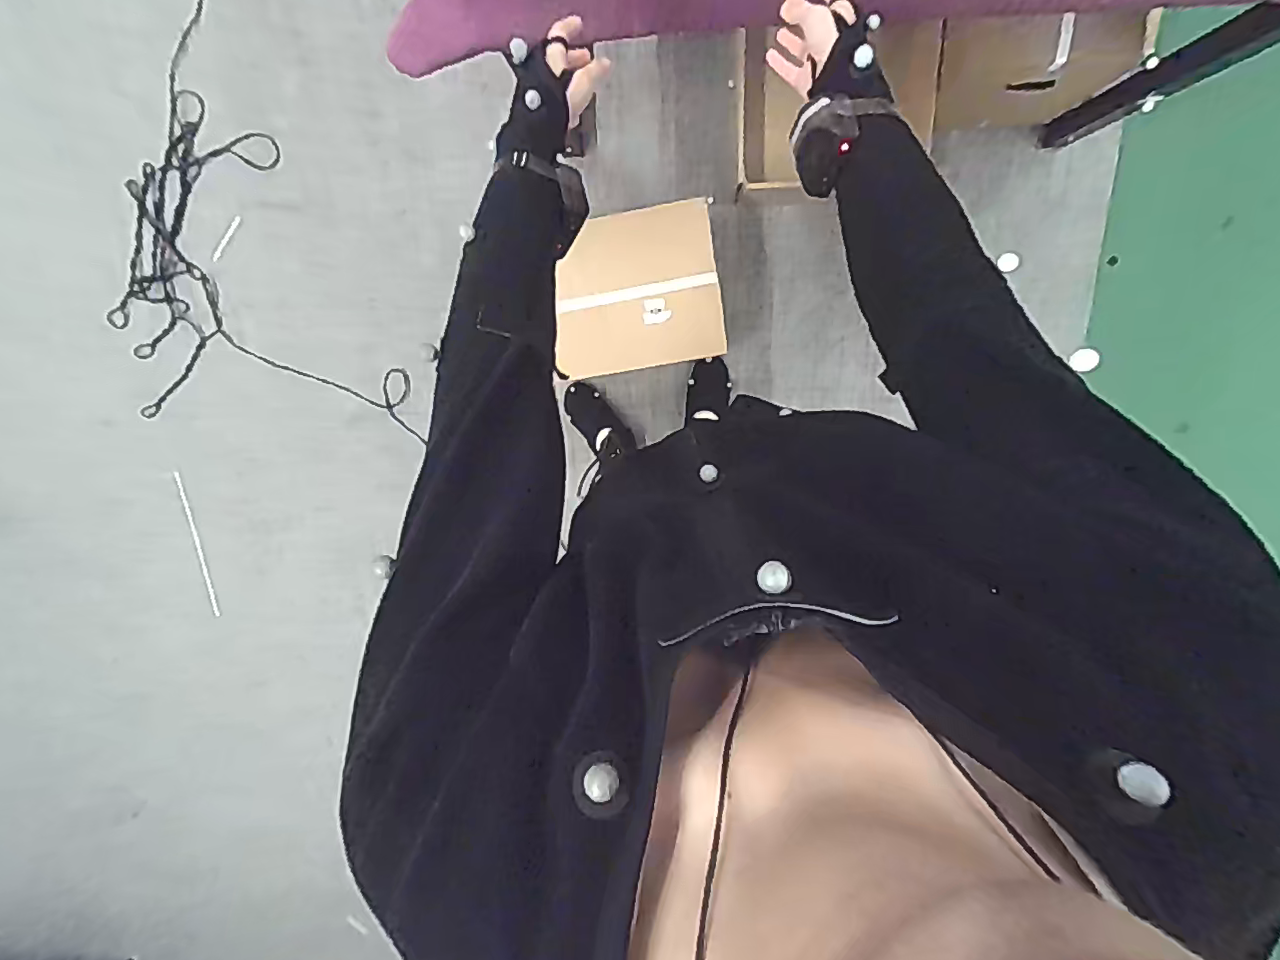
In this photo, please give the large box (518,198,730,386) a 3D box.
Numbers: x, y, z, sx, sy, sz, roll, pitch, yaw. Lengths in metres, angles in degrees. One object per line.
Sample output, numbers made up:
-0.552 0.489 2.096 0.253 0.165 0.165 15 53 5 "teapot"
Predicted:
-0.025 -0.412 1.260 0.408 0.320 0.320 -9 103 5 "large box"
